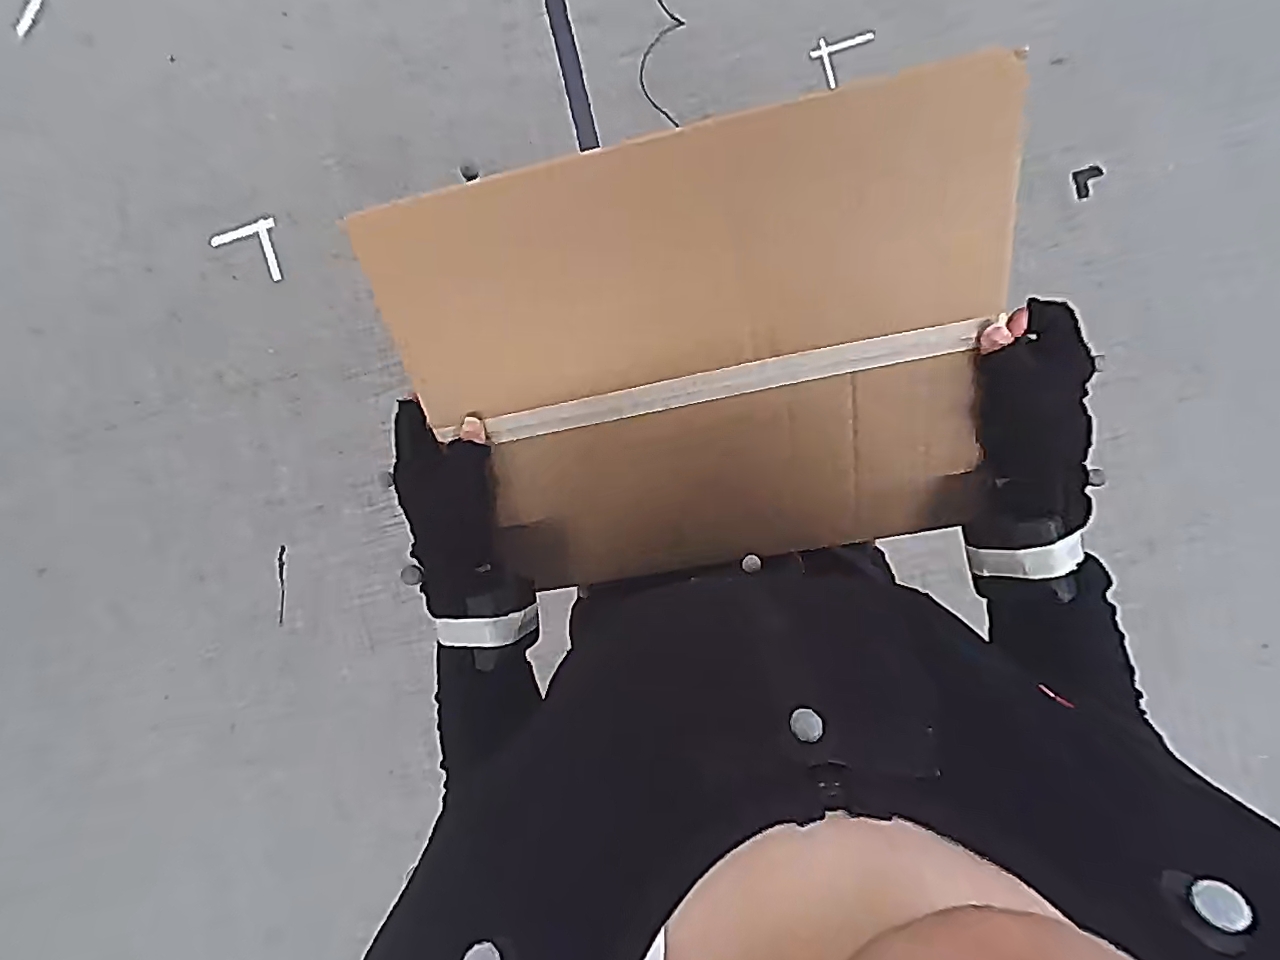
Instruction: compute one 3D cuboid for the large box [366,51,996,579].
[{"bbox_3d":[0.044,-0.145,0.529,0.408,0.320,0.320,-10,119,7],"label":"large box"}]
